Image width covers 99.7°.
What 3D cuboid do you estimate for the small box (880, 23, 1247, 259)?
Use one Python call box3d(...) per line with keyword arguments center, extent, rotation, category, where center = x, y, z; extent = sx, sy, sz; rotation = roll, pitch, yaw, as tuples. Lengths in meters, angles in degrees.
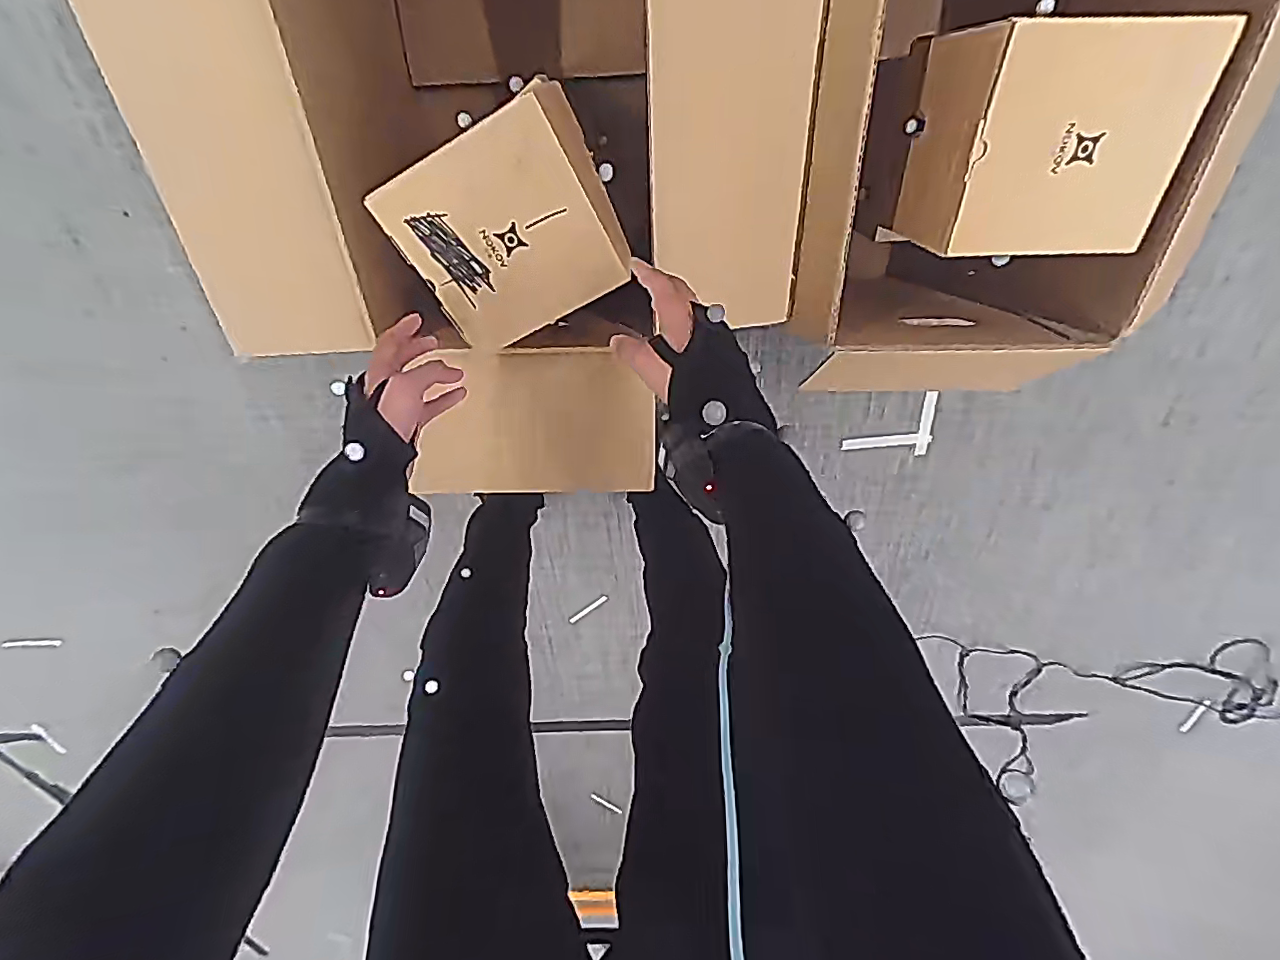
box3d(center=(0.355, -0.313, 0.502), extent=(0.179, 0.176, 0.168), rotation=(-1, 126, 1), category="small box")
